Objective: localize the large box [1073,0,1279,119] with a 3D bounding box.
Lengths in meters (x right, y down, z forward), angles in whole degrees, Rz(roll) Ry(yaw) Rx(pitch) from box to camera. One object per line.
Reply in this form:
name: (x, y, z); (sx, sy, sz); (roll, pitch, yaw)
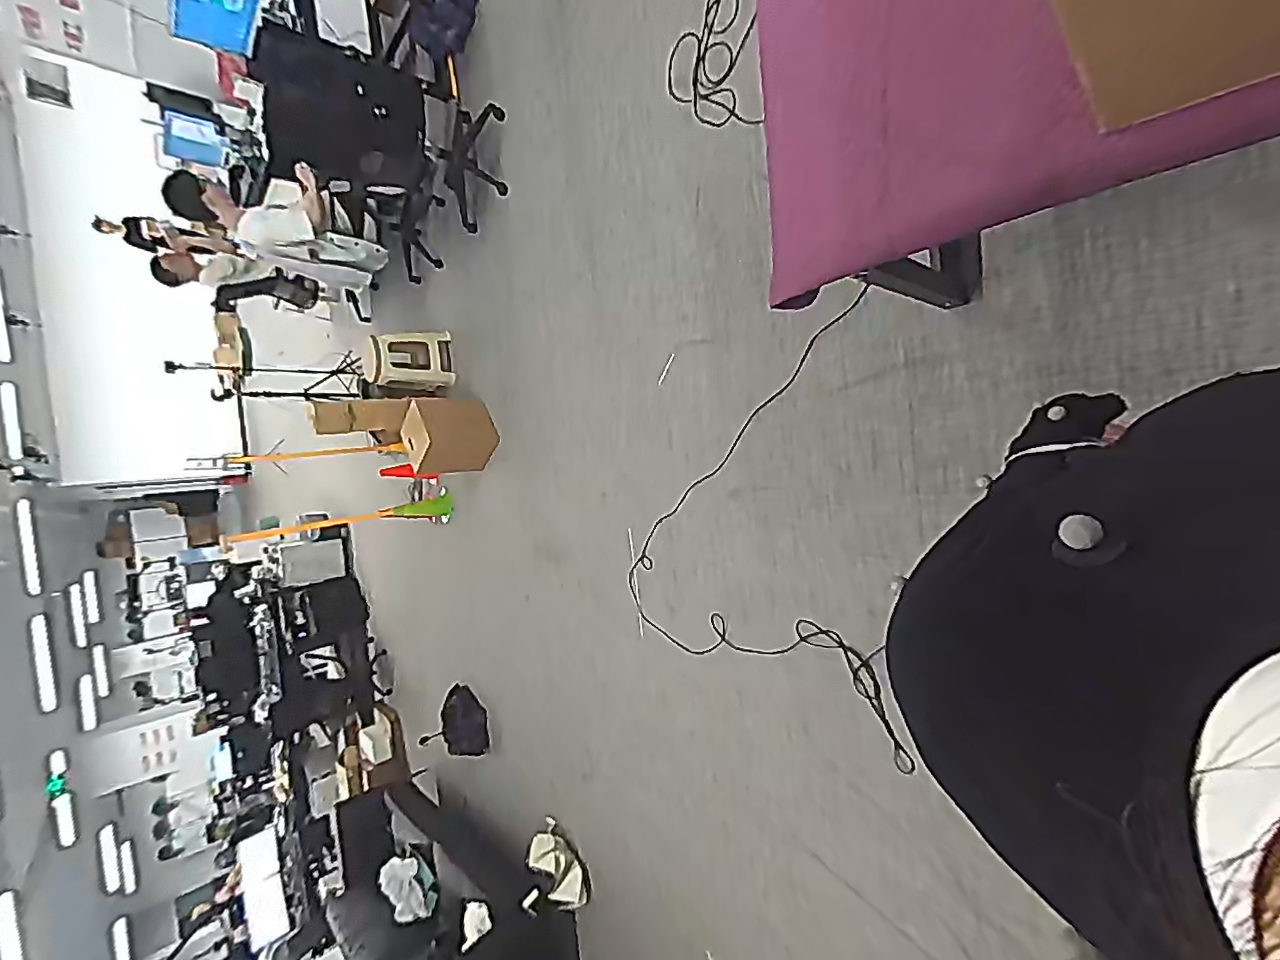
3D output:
large box: (0.494, -0.566, 0.361); (0.320, 0.320, 0.408); (1, 96, 47)
